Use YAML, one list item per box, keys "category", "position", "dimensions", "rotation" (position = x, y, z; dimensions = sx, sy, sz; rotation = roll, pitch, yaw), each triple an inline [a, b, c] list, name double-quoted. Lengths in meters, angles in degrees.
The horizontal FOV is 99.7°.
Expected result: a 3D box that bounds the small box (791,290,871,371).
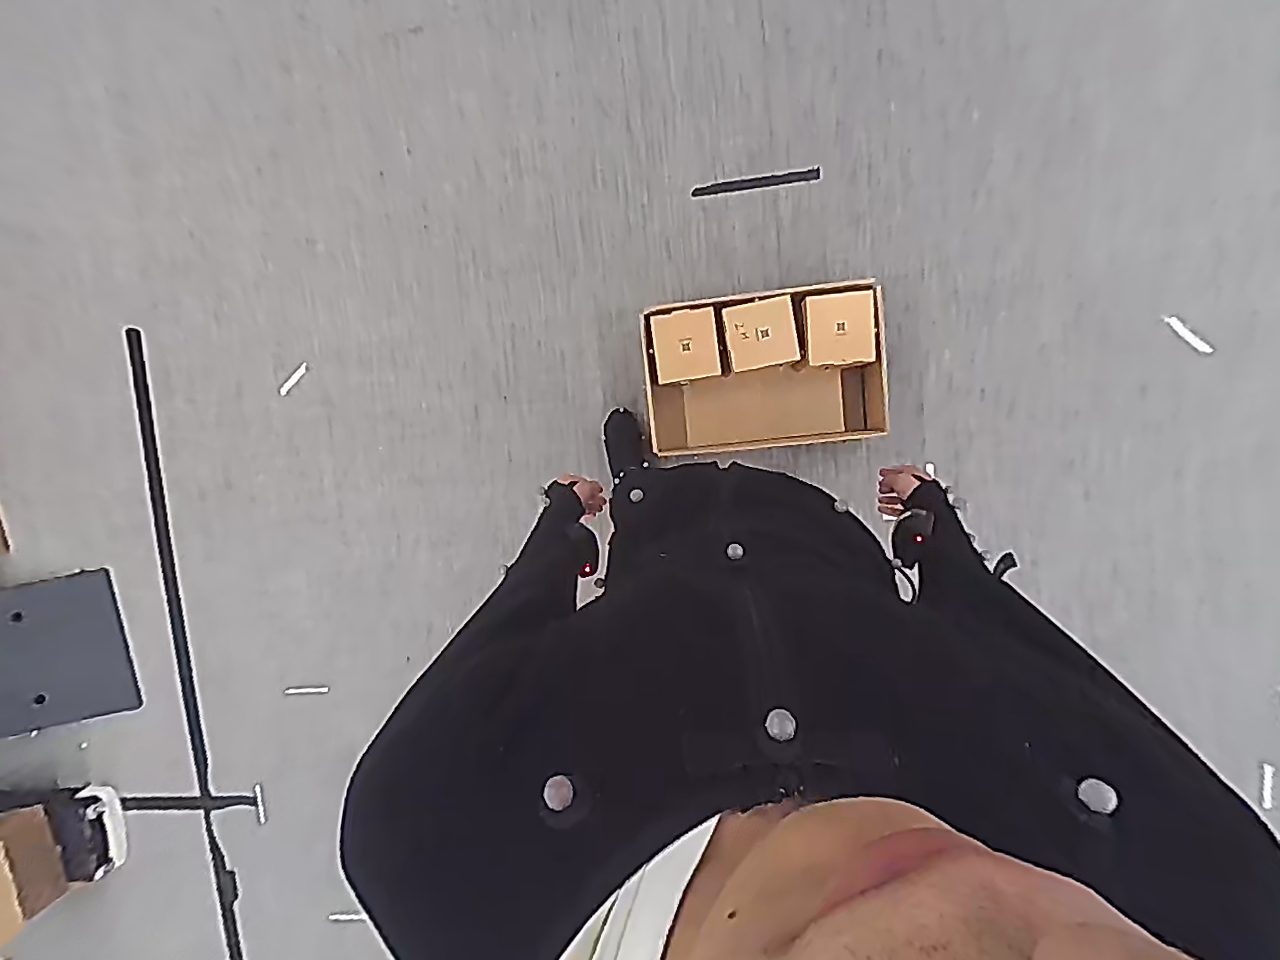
- category: "small box"
  position: [0.501, -0.392, 1.436]
  dimensions: [0.168, 0.176, 0.179]
  rotation: [-5, 97, 6]
